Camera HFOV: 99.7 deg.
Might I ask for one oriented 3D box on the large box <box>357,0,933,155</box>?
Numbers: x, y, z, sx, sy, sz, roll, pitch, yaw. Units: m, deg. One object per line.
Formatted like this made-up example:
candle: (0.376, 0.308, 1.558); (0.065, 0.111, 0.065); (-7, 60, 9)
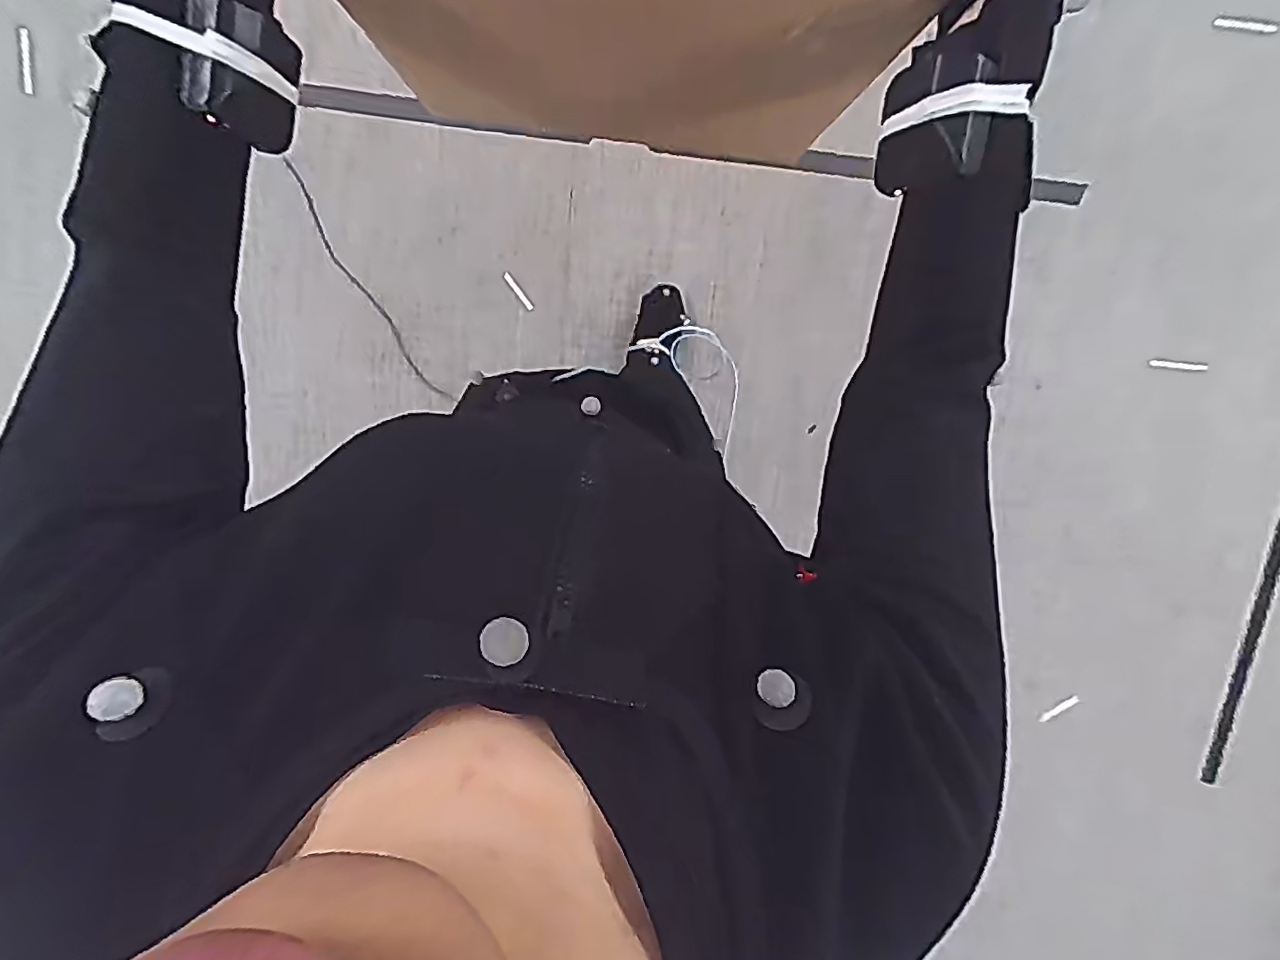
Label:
large box: (-0.004, -0.493, 0.424); (0.408, 0.320, 0.320); (5, 105, -4)
